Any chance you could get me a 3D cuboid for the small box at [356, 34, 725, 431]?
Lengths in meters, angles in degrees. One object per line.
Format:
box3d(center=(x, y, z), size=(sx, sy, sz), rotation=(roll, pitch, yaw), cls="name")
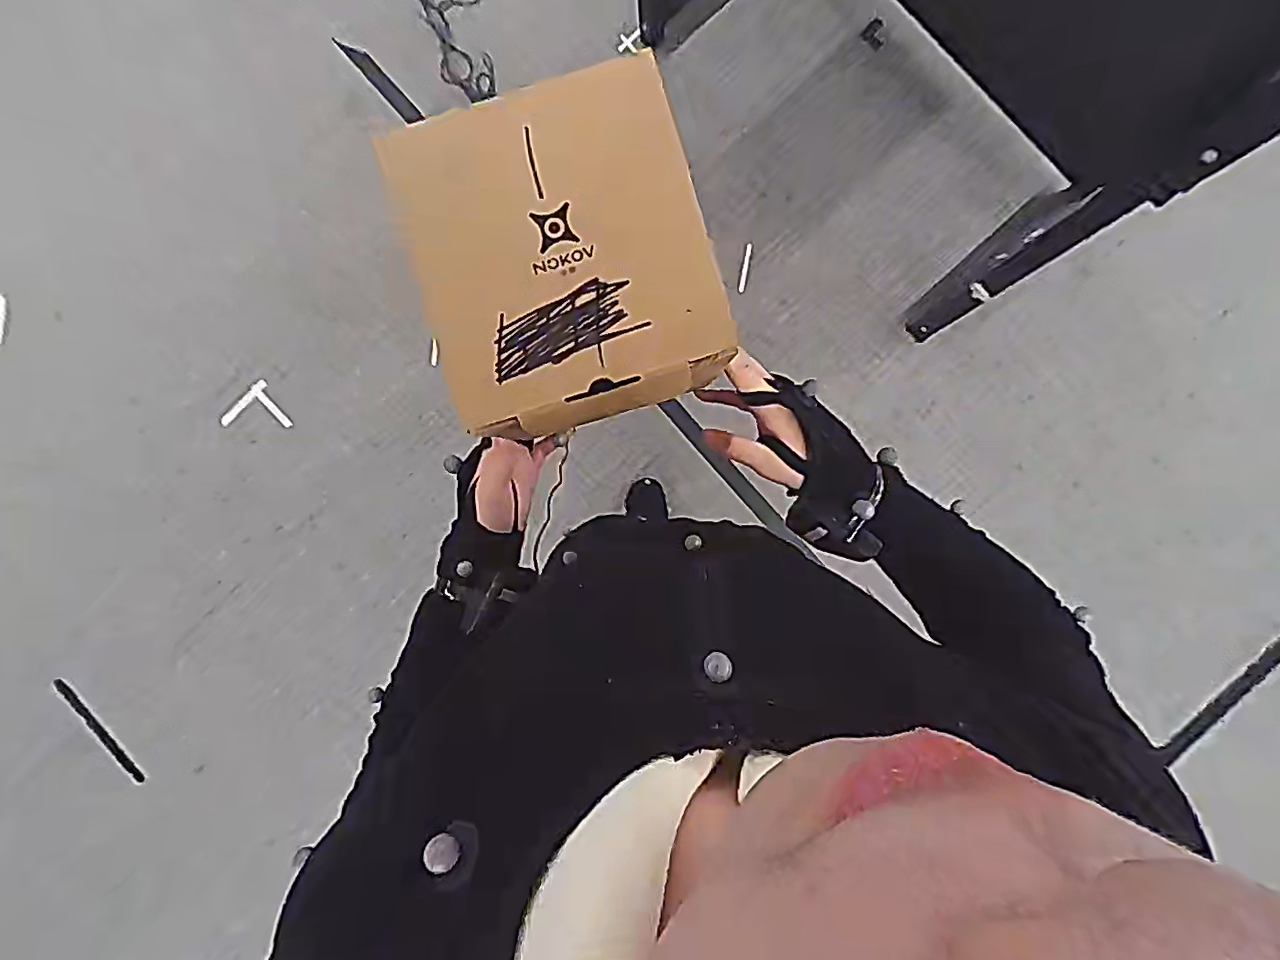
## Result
box3d(center=(-0.052, -0.137, 0.374), size=(0.168, 0.176, 0.179), rotation=(-17, 92, 1), cls="small box")
